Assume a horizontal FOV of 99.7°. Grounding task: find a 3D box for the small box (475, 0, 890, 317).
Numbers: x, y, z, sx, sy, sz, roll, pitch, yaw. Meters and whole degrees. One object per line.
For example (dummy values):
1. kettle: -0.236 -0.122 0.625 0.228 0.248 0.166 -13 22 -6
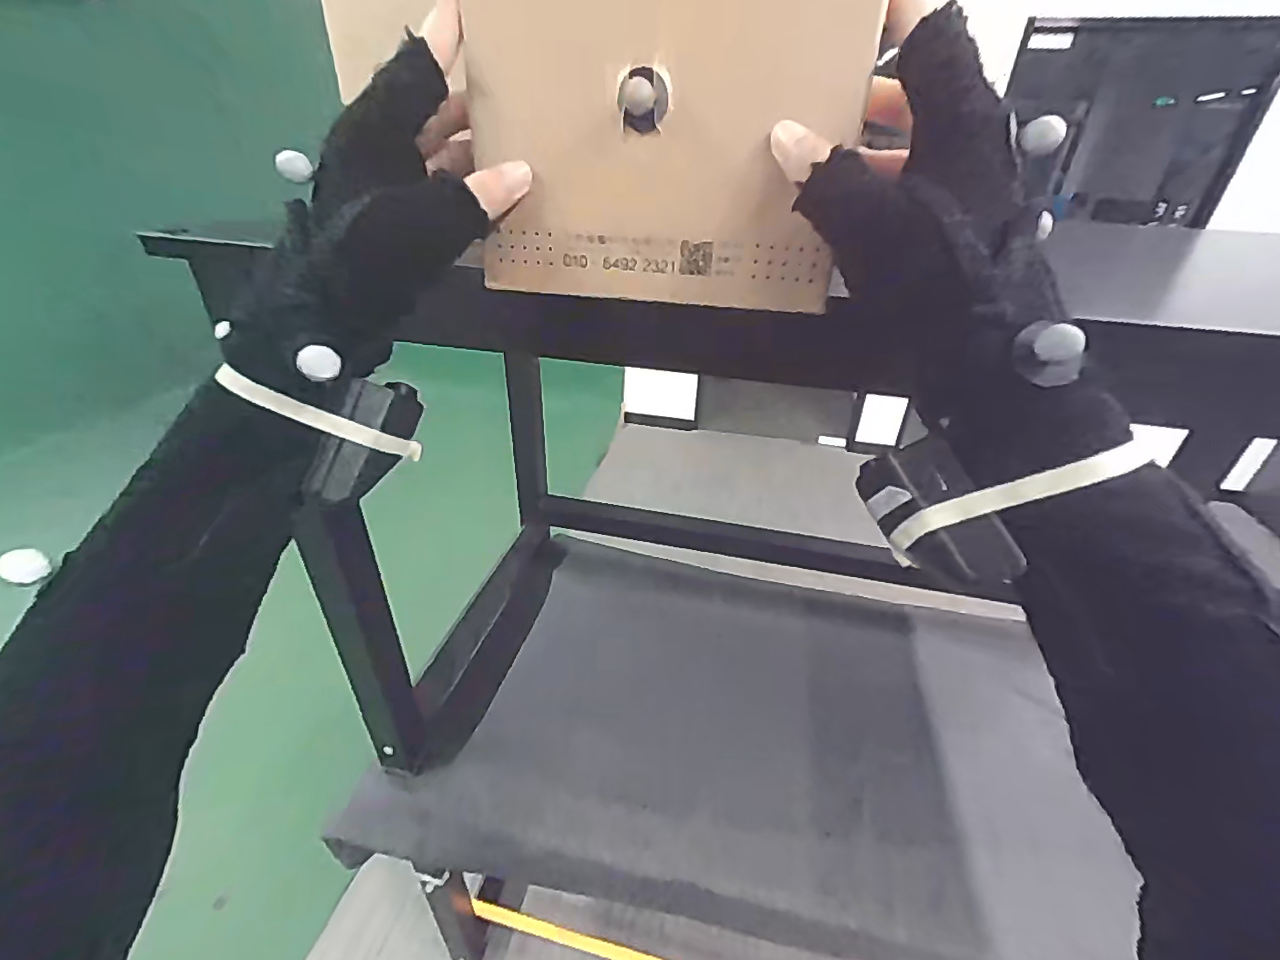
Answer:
1. small box: 0.026 -0.192 0.290 0.168 0.176 0.179 8 29 7
